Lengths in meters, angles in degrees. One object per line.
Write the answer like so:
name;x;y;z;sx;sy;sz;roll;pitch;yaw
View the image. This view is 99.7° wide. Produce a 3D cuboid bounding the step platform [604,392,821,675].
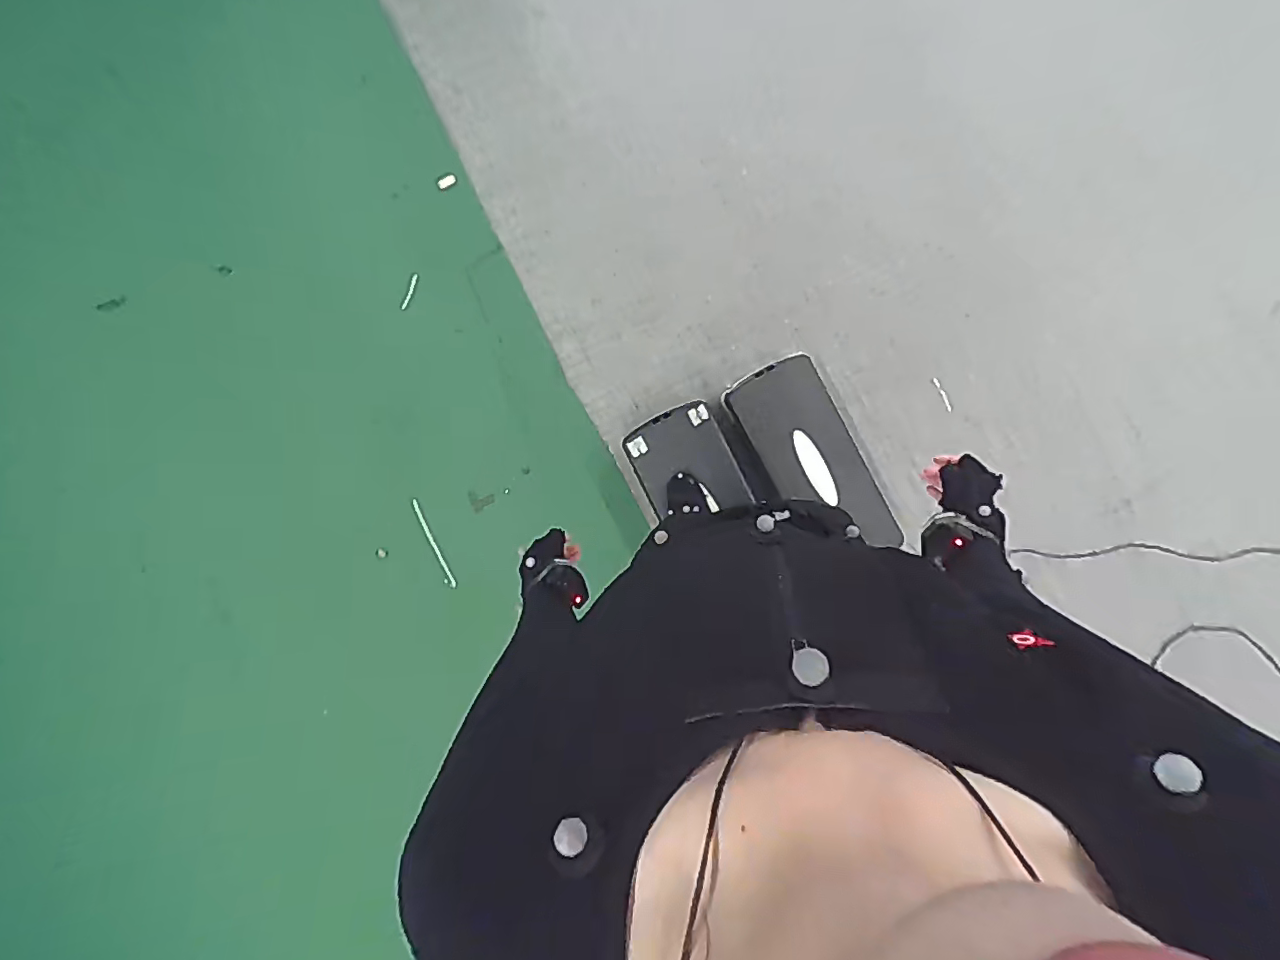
step platform;0.174;0.128;1.391;0.286;0.204;0.684;-27;90;3
